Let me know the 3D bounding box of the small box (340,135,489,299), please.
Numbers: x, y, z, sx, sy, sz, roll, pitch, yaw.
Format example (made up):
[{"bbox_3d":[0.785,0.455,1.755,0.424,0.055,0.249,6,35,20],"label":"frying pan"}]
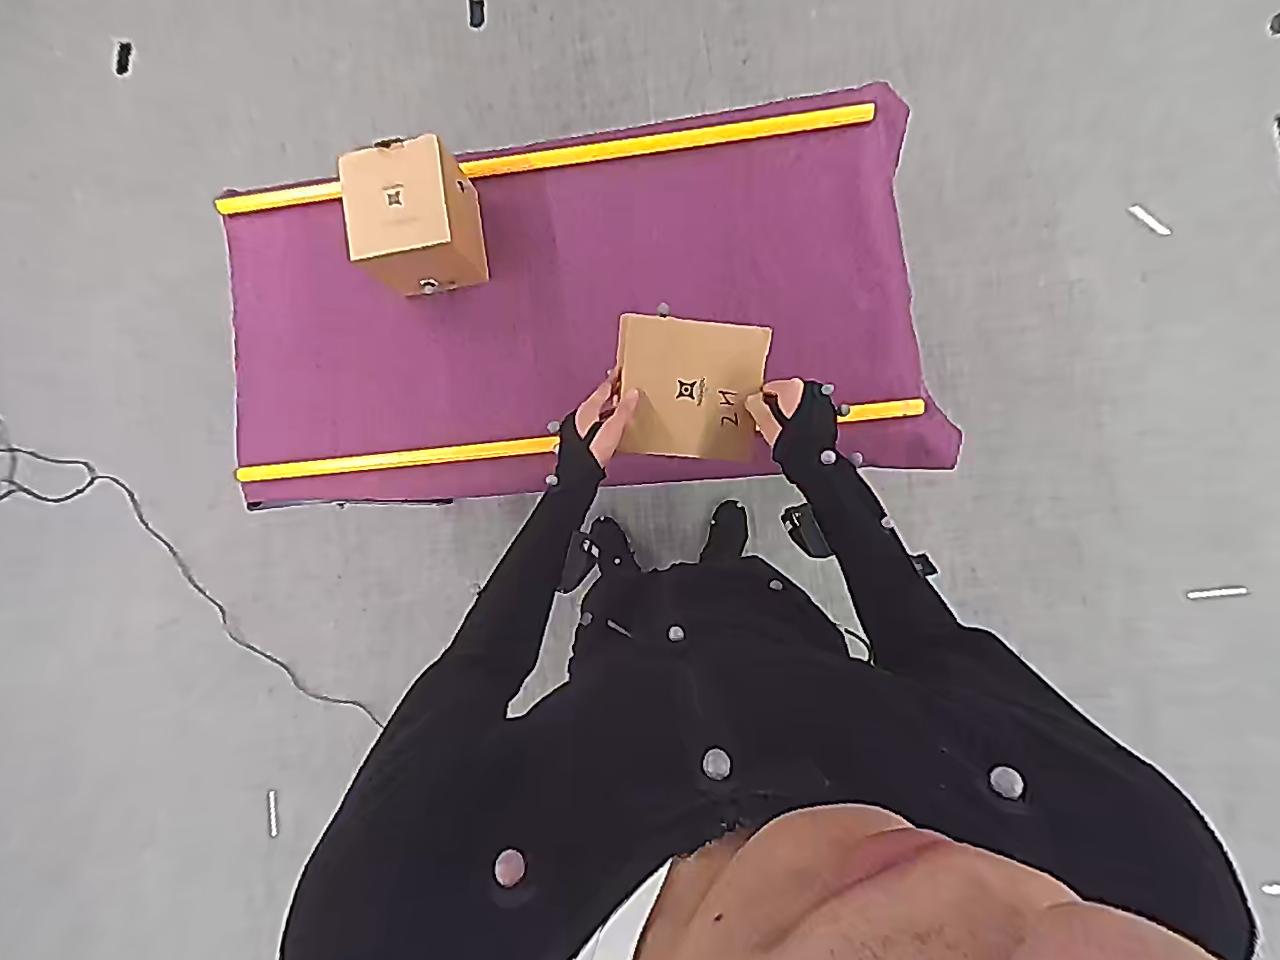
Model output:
[{"bbox_3d":[-0.371,-0.432,0.912,0.168,0.176,0.179,-9,87,5],"label":"small box"}]

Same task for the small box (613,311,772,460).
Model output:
[{"bbox_3d":[0.056,-0.131,0.729,0.179,0.176,0.168,4,106,-6],"label":"small box"}]
